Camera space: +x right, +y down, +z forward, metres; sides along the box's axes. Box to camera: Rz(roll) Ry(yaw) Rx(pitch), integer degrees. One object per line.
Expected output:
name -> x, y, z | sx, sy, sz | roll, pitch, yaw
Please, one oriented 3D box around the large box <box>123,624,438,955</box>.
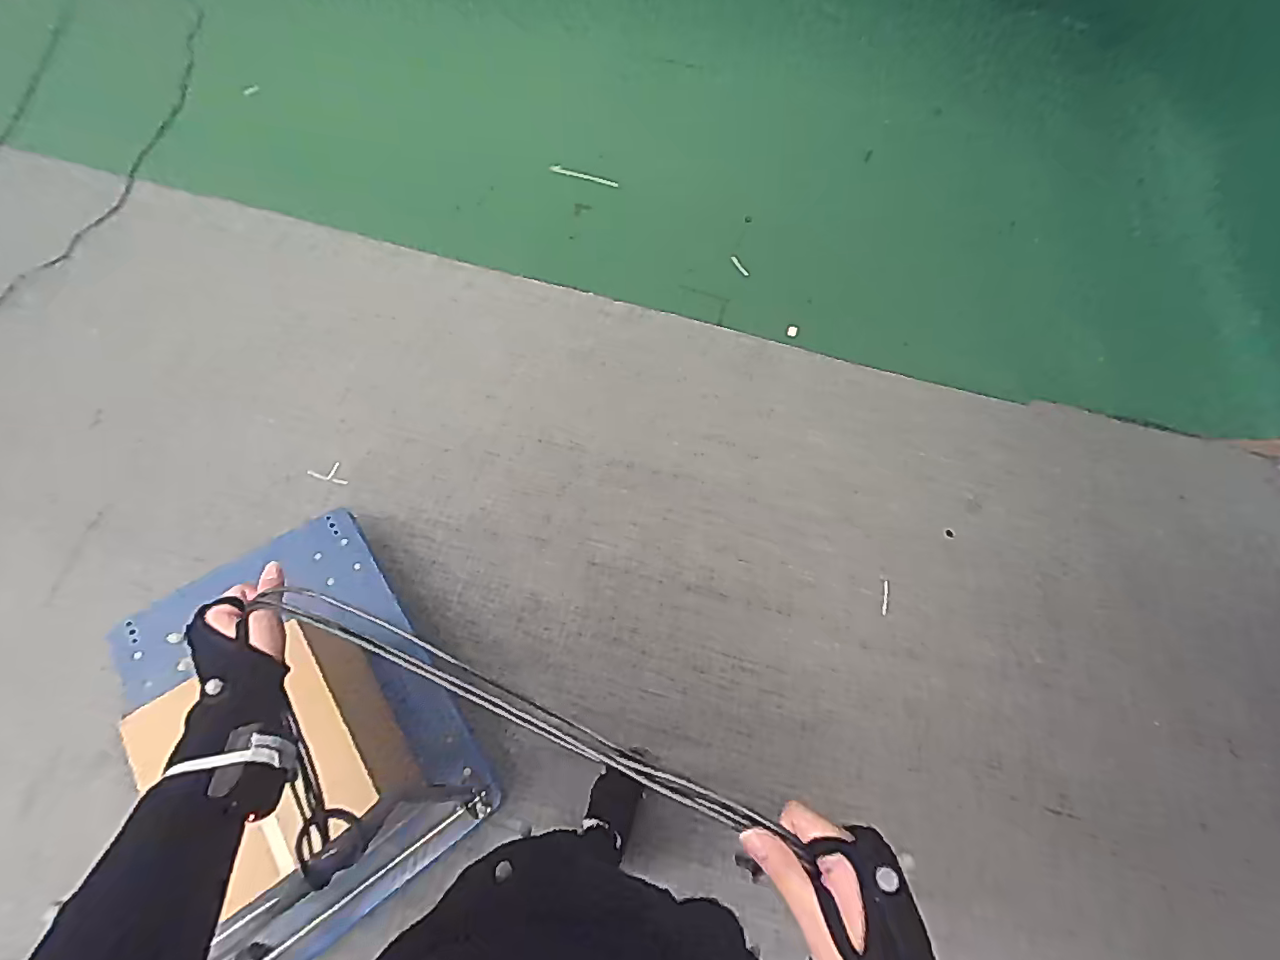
large box -> -0.659, 0.556, 1.044 | 0.320, 0.320, 0.408 | -32, 70, -18
